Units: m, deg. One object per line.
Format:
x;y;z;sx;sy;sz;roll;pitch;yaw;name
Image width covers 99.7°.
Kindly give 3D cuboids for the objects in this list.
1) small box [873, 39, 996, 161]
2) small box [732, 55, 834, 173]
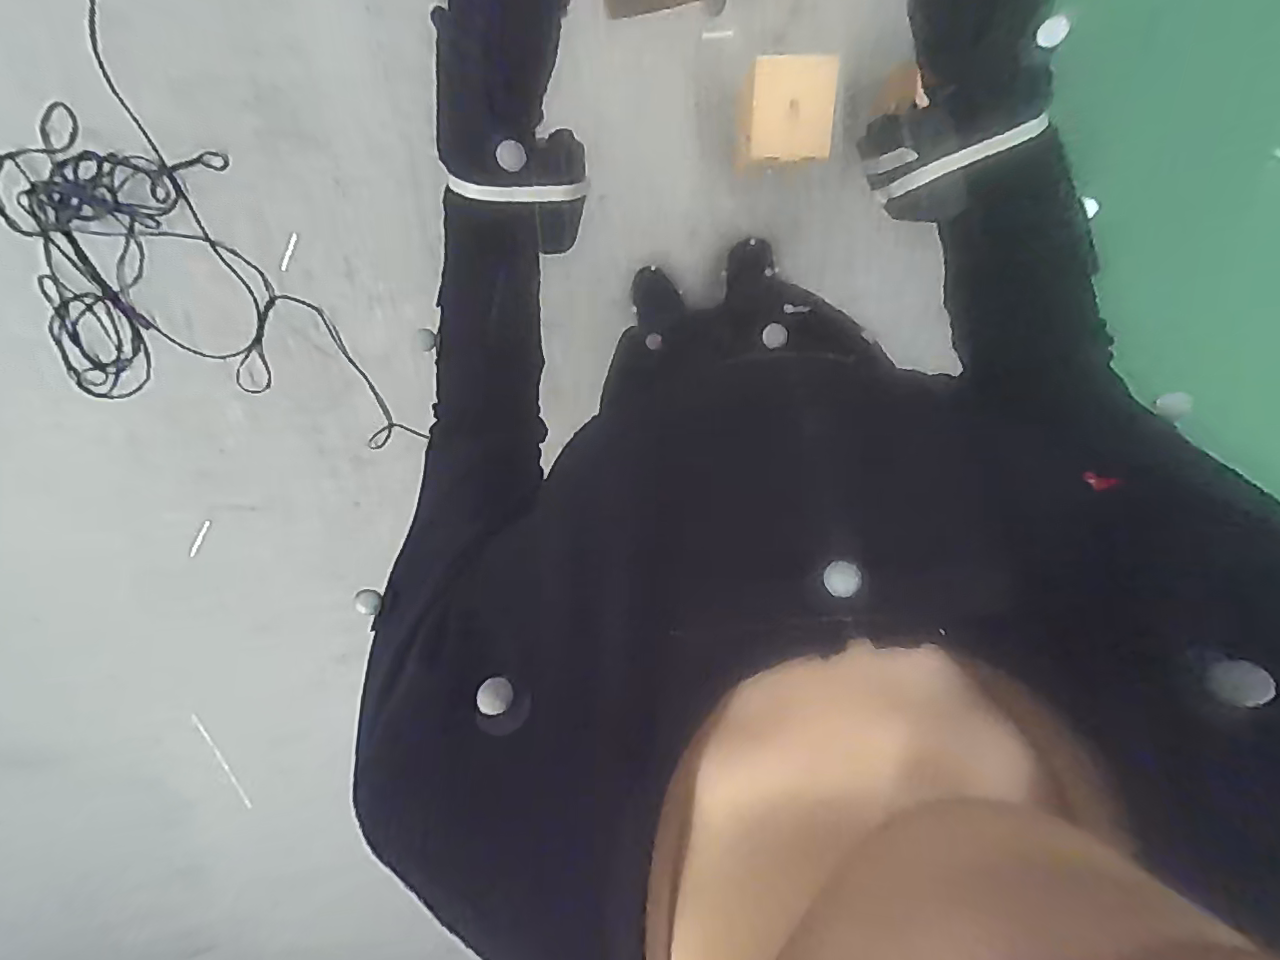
0.611;-0.792;1.147;0.168;0.176;0.179;-7;111;0;small box
0.293;-0.766;1.147;0.168;0.176;0.179;-2;112;-1;small box
